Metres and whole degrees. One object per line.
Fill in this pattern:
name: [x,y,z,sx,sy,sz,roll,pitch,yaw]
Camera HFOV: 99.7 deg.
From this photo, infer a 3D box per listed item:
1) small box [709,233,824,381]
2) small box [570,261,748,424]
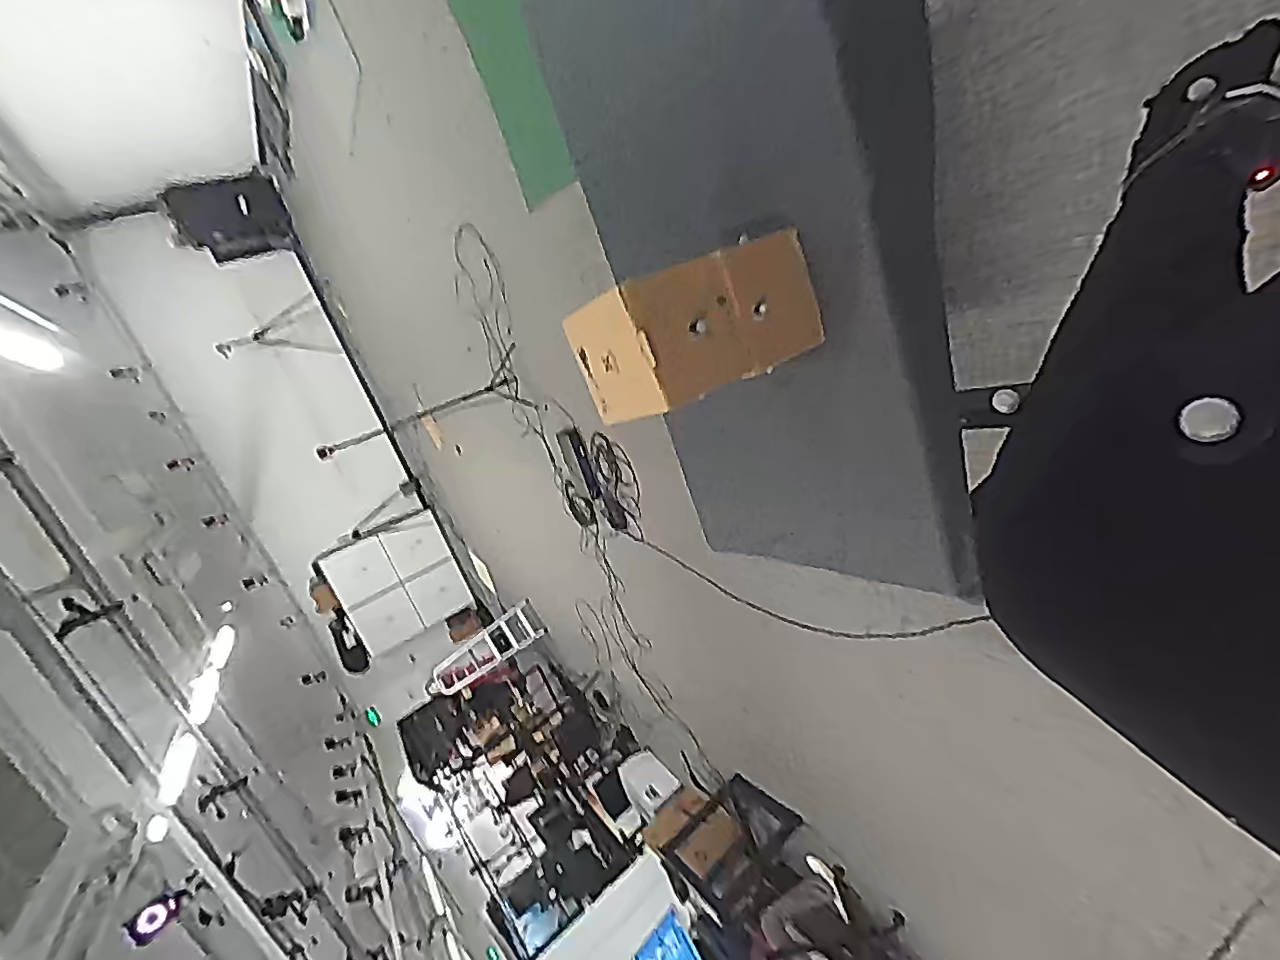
small box: [0.162,-0.263,0.855,0.168,0.176,0.179,0,114,57]
small box: [0.033,-0.195,0.781,0.179,0.176,0.168,-3,113,58]
